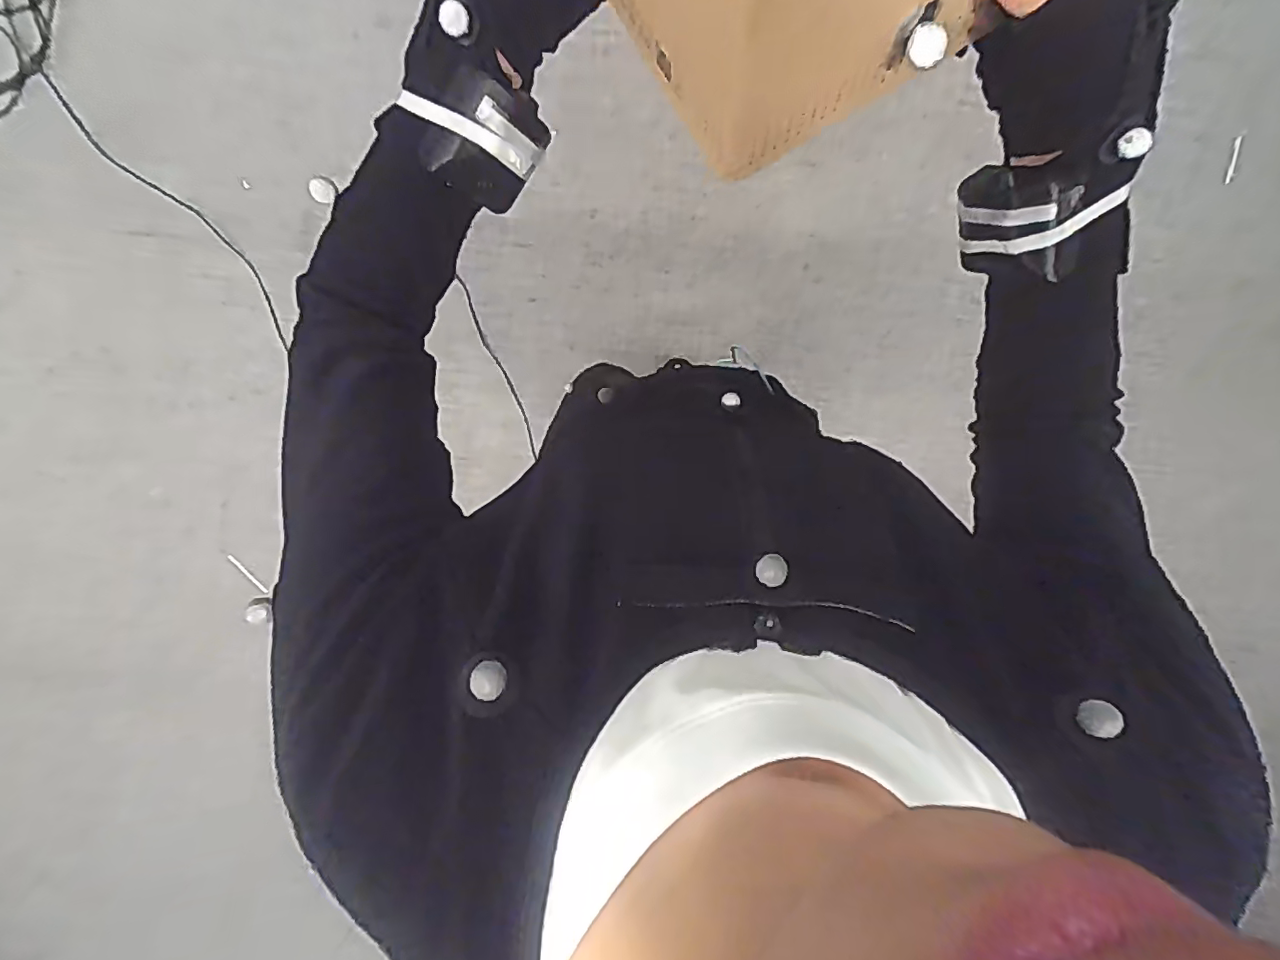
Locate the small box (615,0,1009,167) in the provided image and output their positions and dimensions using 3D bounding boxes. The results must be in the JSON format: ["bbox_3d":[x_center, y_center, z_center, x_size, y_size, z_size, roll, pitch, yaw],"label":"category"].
[{"bbox_3d":[0.069,-0.260,0.184,0.179,0.176,0.168,-30,86,4],"label":"small box"}]
